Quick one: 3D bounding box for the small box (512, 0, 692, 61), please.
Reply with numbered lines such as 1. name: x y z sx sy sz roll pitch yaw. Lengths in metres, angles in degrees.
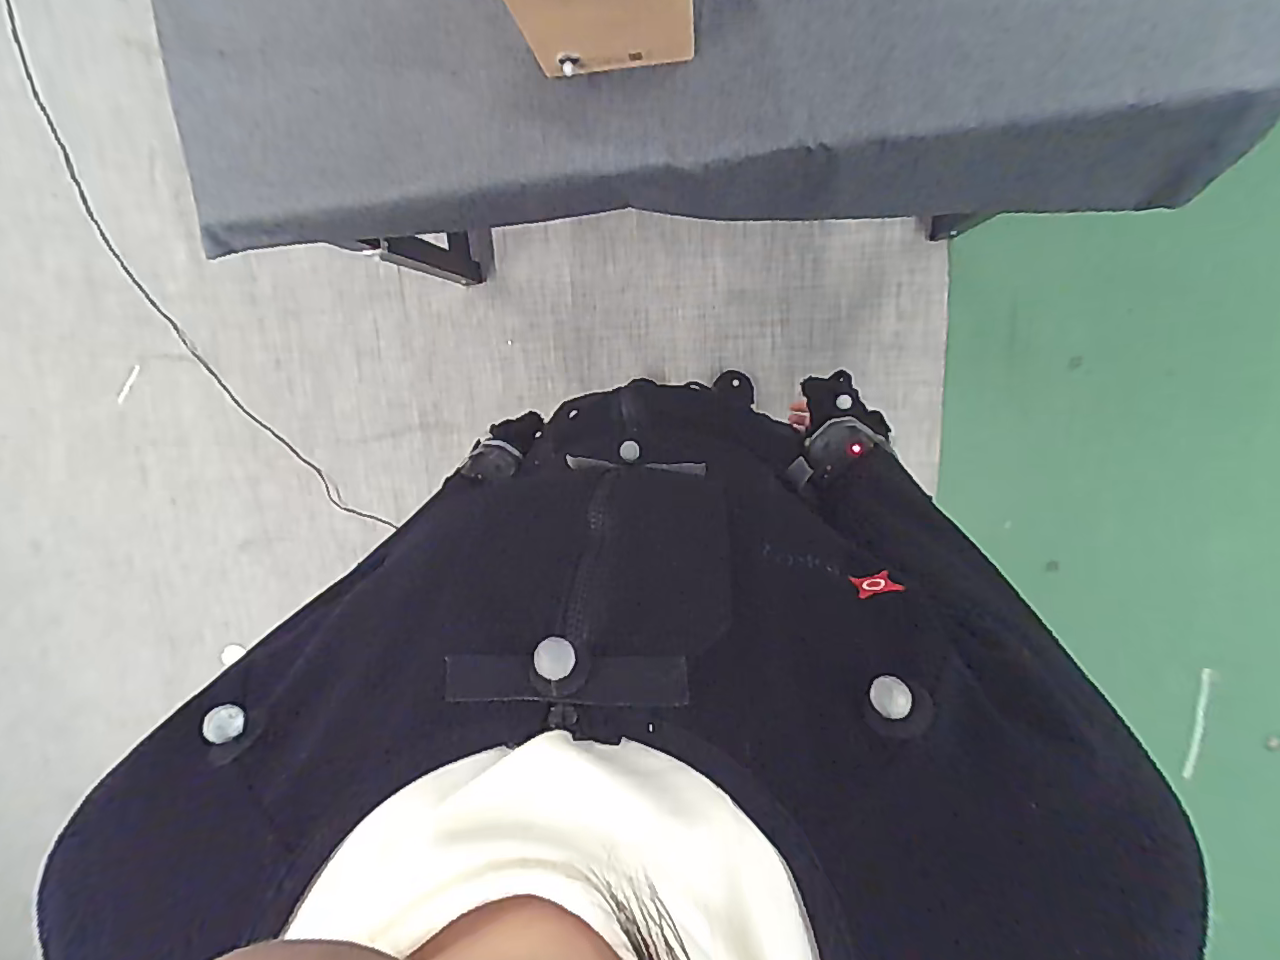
1. small box: -0.037 -0.528 0.502 0.168 0.176 0.179 -1 101 7
